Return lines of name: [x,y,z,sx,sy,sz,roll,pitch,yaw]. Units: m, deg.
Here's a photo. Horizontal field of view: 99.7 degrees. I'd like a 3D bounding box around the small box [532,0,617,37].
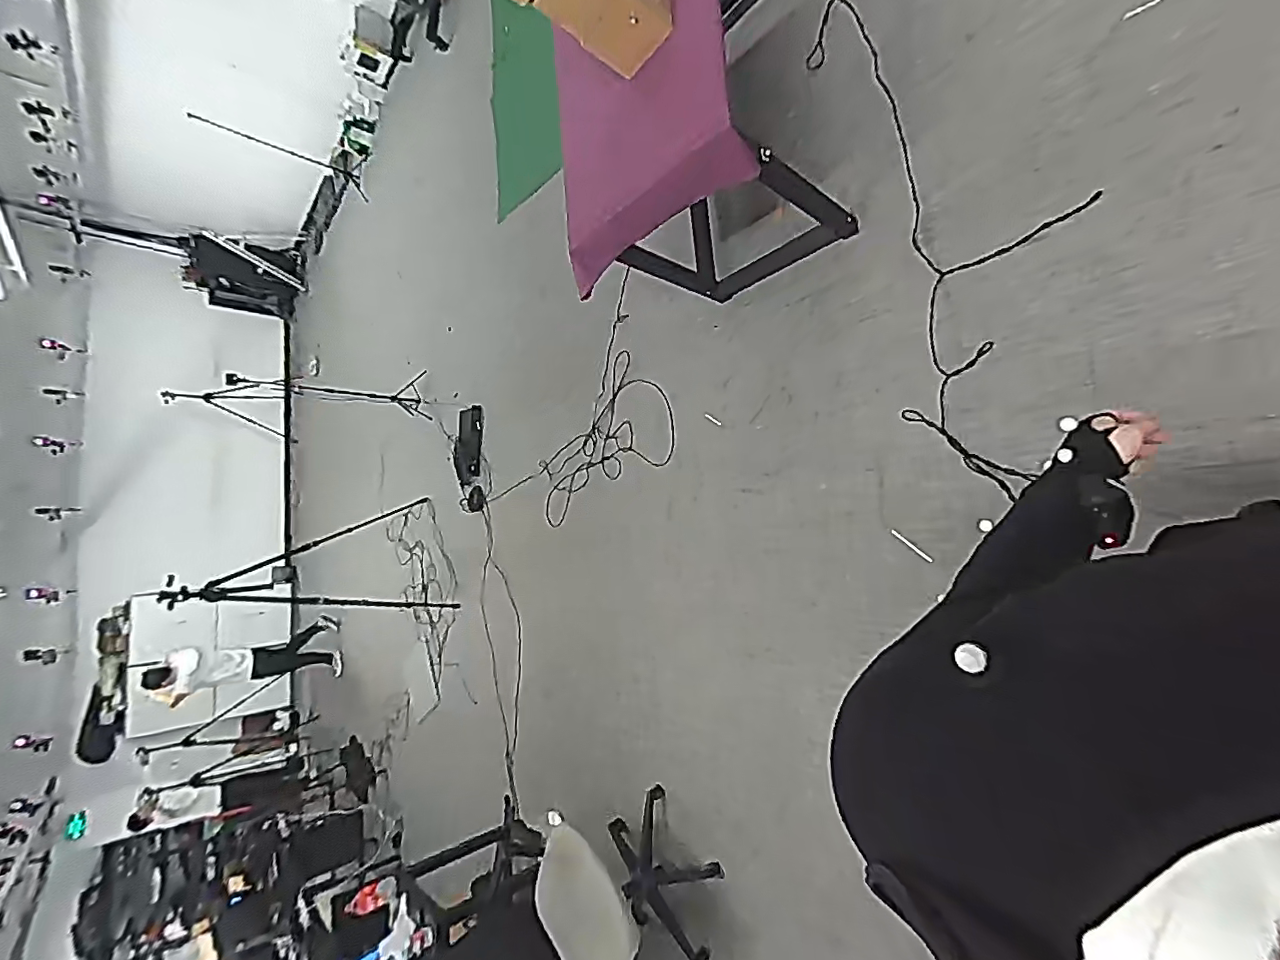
small box: [-0.144,-1.210,1.264,0.179,0.176,0.168,-16,76,46]
